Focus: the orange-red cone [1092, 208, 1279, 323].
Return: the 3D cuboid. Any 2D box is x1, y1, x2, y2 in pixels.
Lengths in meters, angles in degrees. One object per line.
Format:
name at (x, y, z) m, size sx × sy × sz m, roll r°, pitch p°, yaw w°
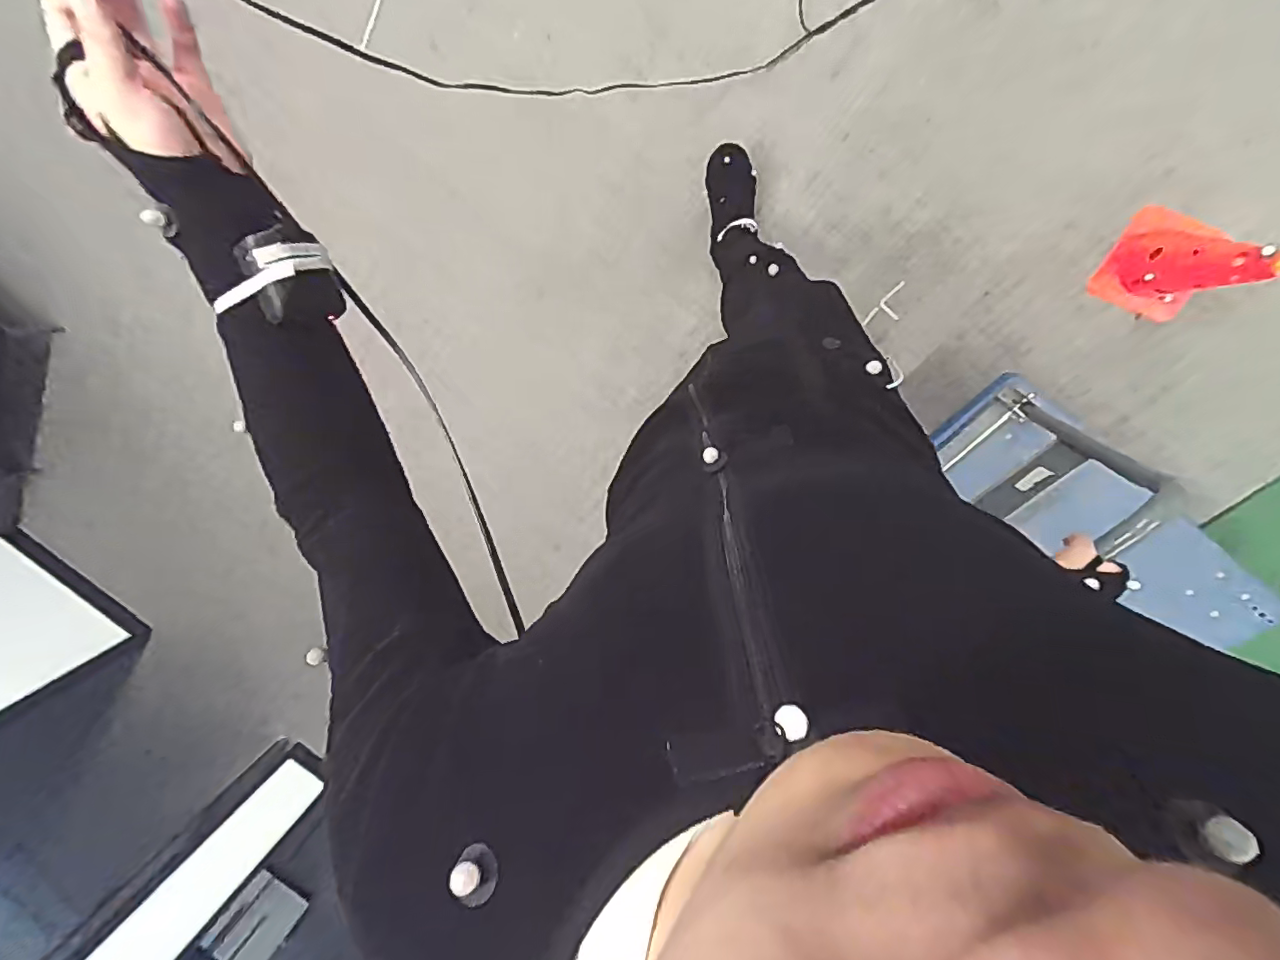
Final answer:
orange-red cone at (1.122, -0.418, 1.054) m, size 0.198 × 0.360 × 0.199 m, roll 26°, pitch 114°, yaw 3°
